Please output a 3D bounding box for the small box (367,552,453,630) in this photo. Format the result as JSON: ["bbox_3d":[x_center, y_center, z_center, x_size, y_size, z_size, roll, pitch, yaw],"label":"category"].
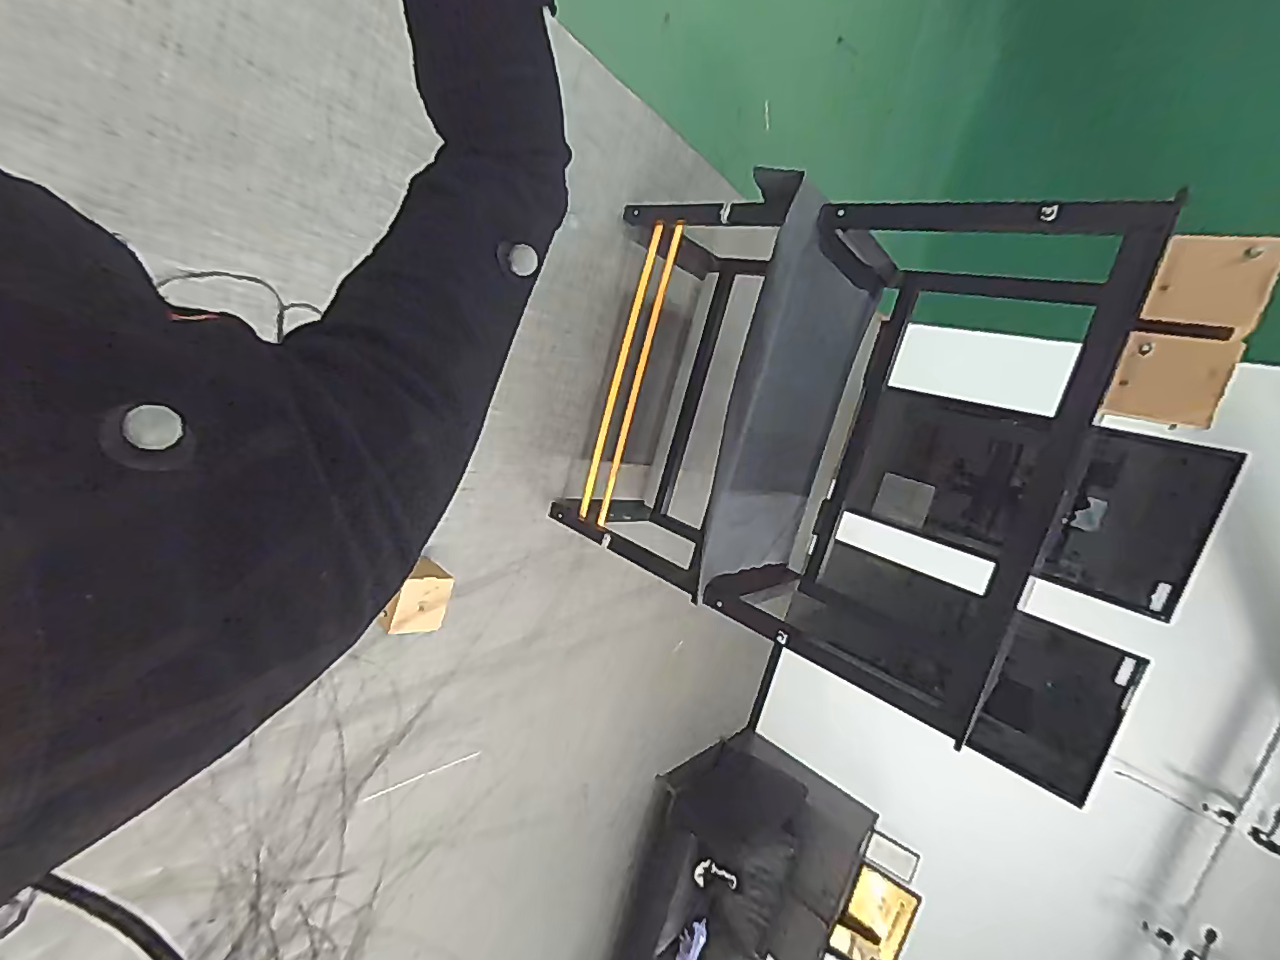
[{"bbox_3d":[-0.706,0.337,1.648,0.168,0.176,0.179,13,98,-52],"label":"small box"}]
